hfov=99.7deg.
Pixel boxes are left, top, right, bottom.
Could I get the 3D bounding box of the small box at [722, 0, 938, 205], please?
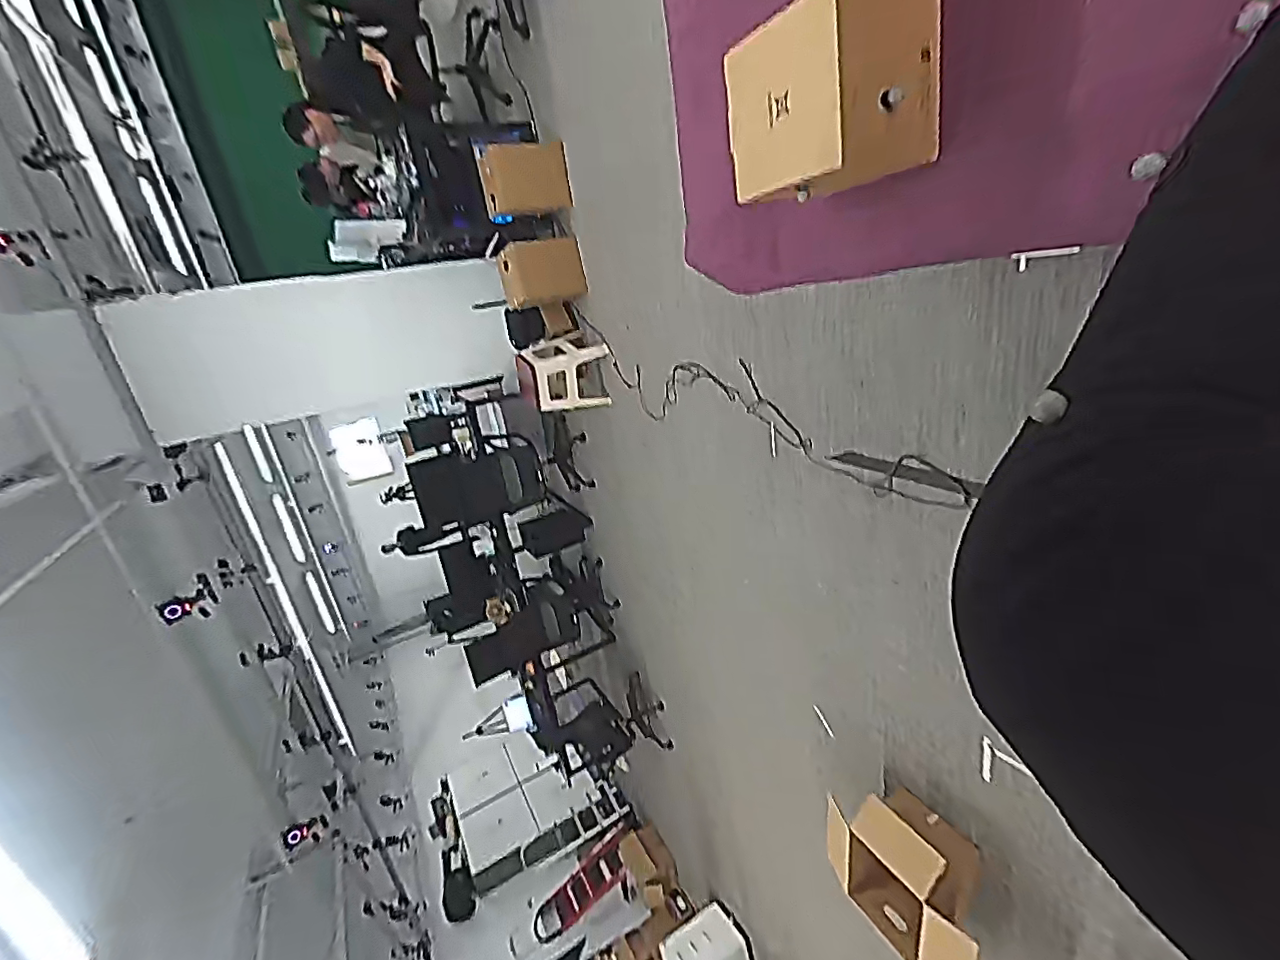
[{"bbox_3d":[0.225,-0.440,0.639,0.179,0.176,0.168,23,127,59],"label":"small box"}]
